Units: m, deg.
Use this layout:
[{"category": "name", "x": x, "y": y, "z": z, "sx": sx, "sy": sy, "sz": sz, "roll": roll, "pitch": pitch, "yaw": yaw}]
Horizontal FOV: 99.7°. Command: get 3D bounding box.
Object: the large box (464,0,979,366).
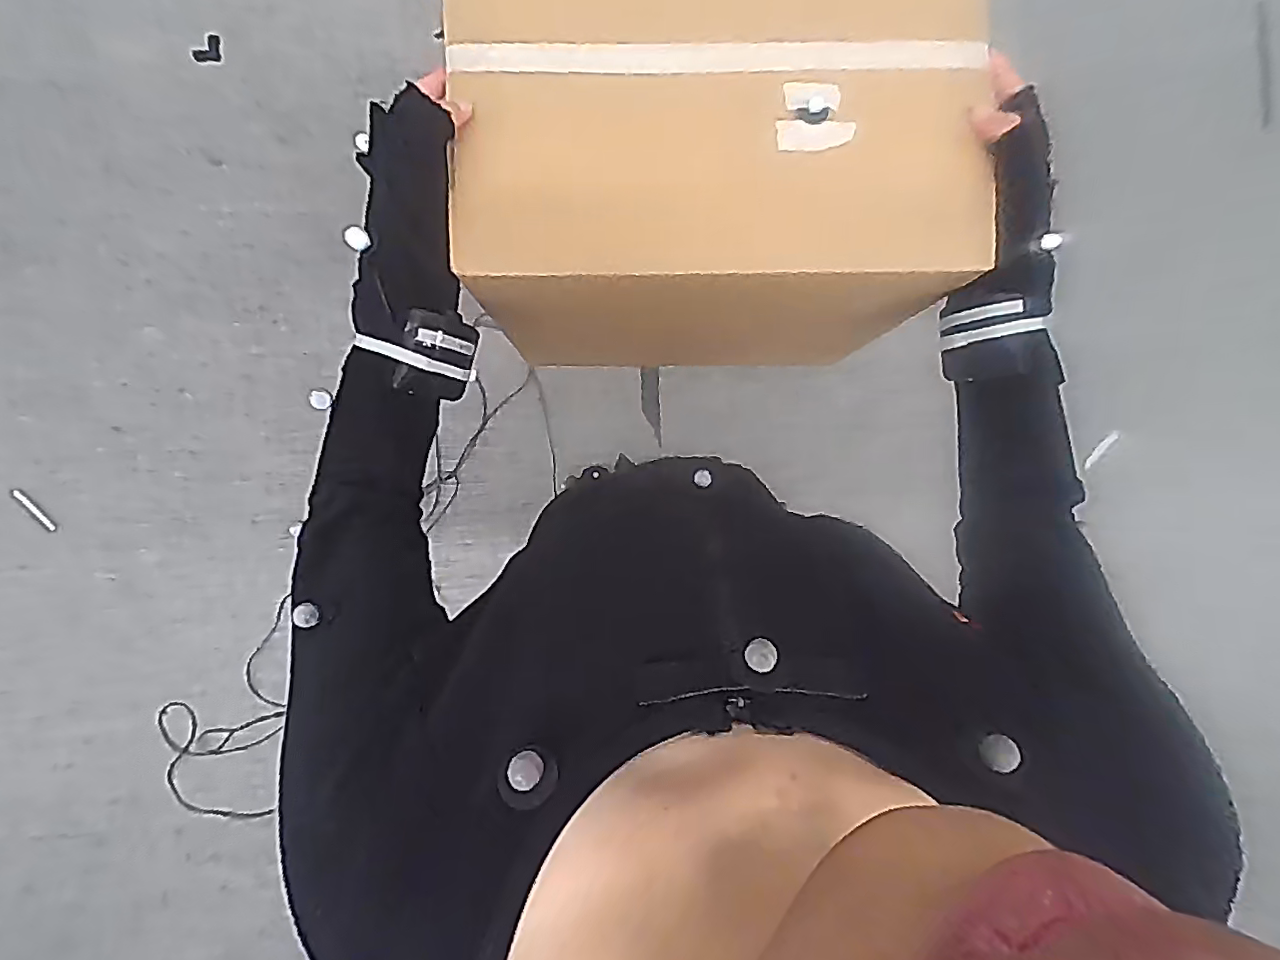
[{"category": "large box", "x": 0.058, "y": -0.312, "z": 0.569, "sx": 0.408, "sy": 0.320, "sz": 0.320, "roll": -1, "pitch": 89, "yaw": -1}]
